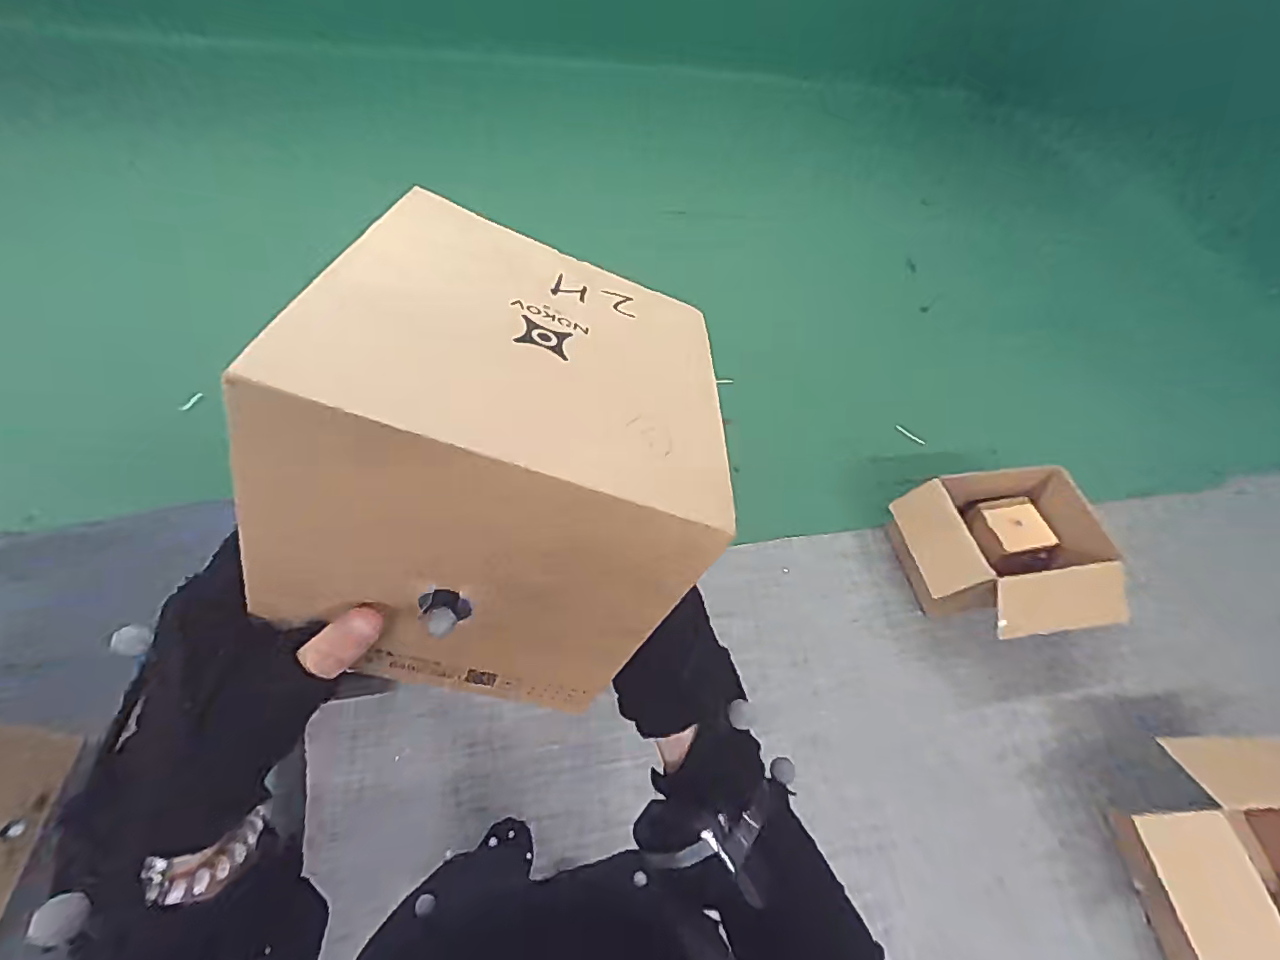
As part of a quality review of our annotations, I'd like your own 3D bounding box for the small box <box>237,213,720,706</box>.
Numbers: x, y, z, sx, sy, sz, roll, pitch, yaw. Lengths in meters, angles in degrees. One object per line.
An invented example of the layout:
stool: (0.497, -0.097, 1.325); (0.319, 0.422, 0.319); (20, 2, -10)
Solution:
small box: (-0.072, -0.004, 0.292); (0.168, 0.176, 0.179); (18, 41, -14)
